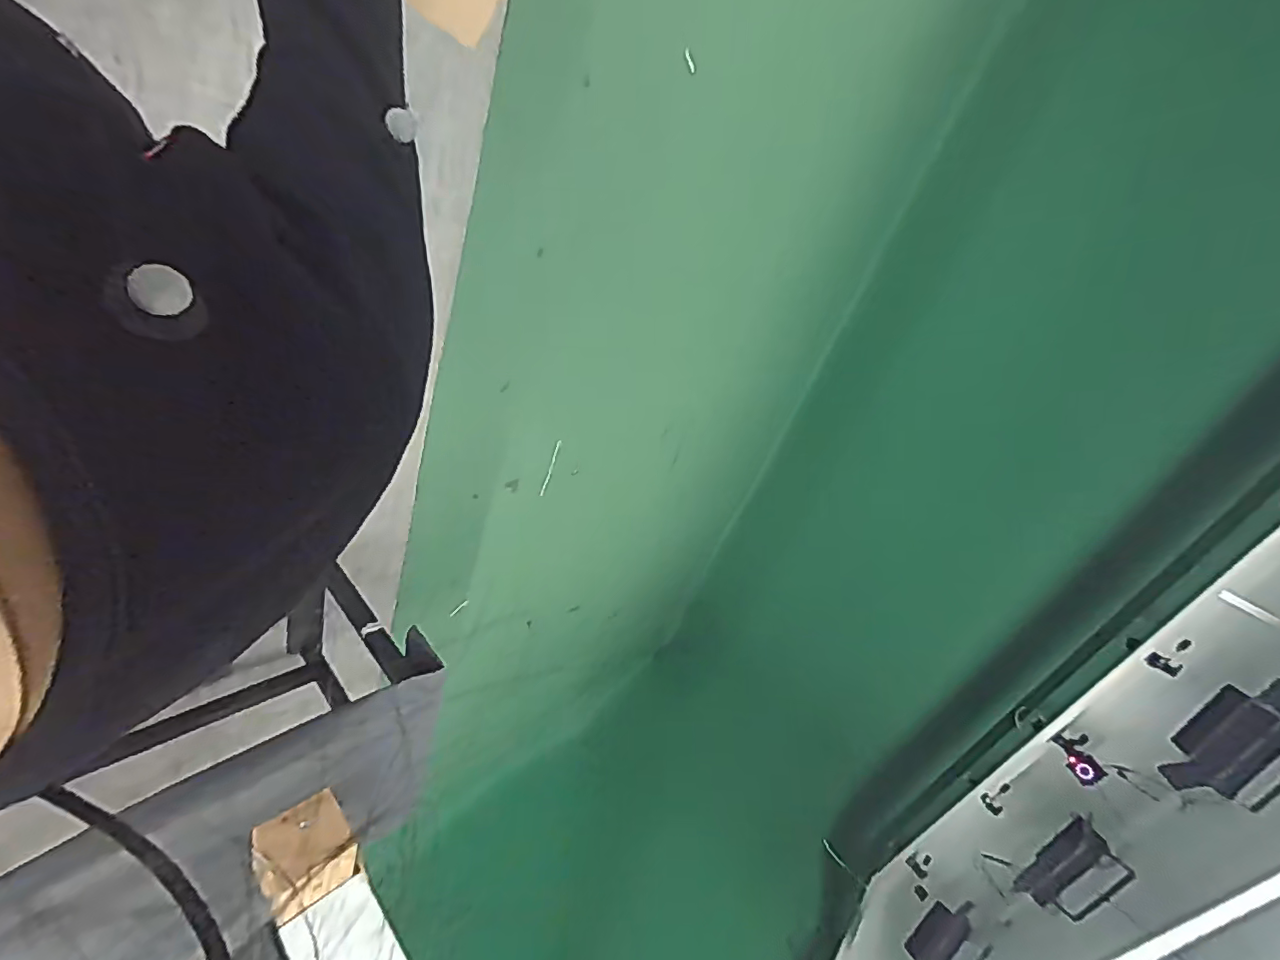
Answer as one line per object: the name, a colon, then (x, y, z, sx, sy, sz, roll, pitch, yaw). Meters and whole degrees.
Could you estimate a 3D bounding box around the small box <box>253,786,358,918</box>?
small box: (-0.811, 0.887, 1.306, 0.168, 0.176, 0.179, -16, 137, -49)
